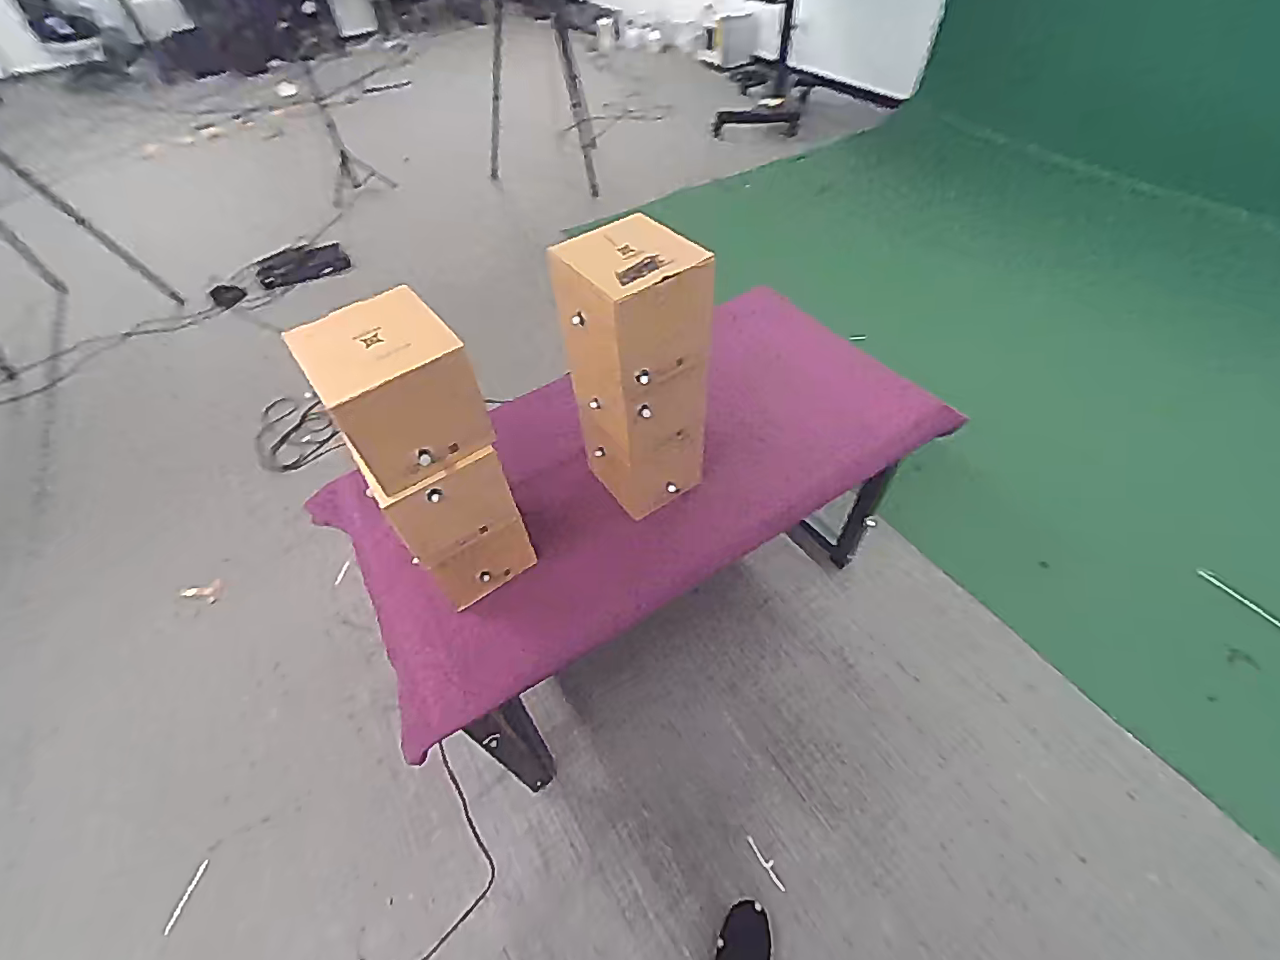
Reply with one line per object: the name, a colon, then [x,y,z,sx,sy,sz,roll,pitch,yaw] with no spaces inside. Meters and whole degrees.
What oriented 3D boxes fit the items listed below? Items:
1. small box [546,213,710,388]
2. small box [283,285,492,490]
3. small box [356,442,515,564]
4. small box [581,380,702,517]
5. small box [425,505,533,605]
small box: [-0.014,-0.259,0.800,0.168,0.176,0.179,-31,54,-20]
small box: [-0.321,-0.120,0.710,0.168,0.176,0.179,-32,57,-21]
small box: [-0.314,-0.006,0.828,0.168,0.176,0.179,-31,55,-20]
small box: [0.004,-0.061,1.062,0.168,0.176,0.179,-30,55,-19]
small box: [-0.313,0.088,0.963,0.168,0.176,0.179,-32,57,-21]
